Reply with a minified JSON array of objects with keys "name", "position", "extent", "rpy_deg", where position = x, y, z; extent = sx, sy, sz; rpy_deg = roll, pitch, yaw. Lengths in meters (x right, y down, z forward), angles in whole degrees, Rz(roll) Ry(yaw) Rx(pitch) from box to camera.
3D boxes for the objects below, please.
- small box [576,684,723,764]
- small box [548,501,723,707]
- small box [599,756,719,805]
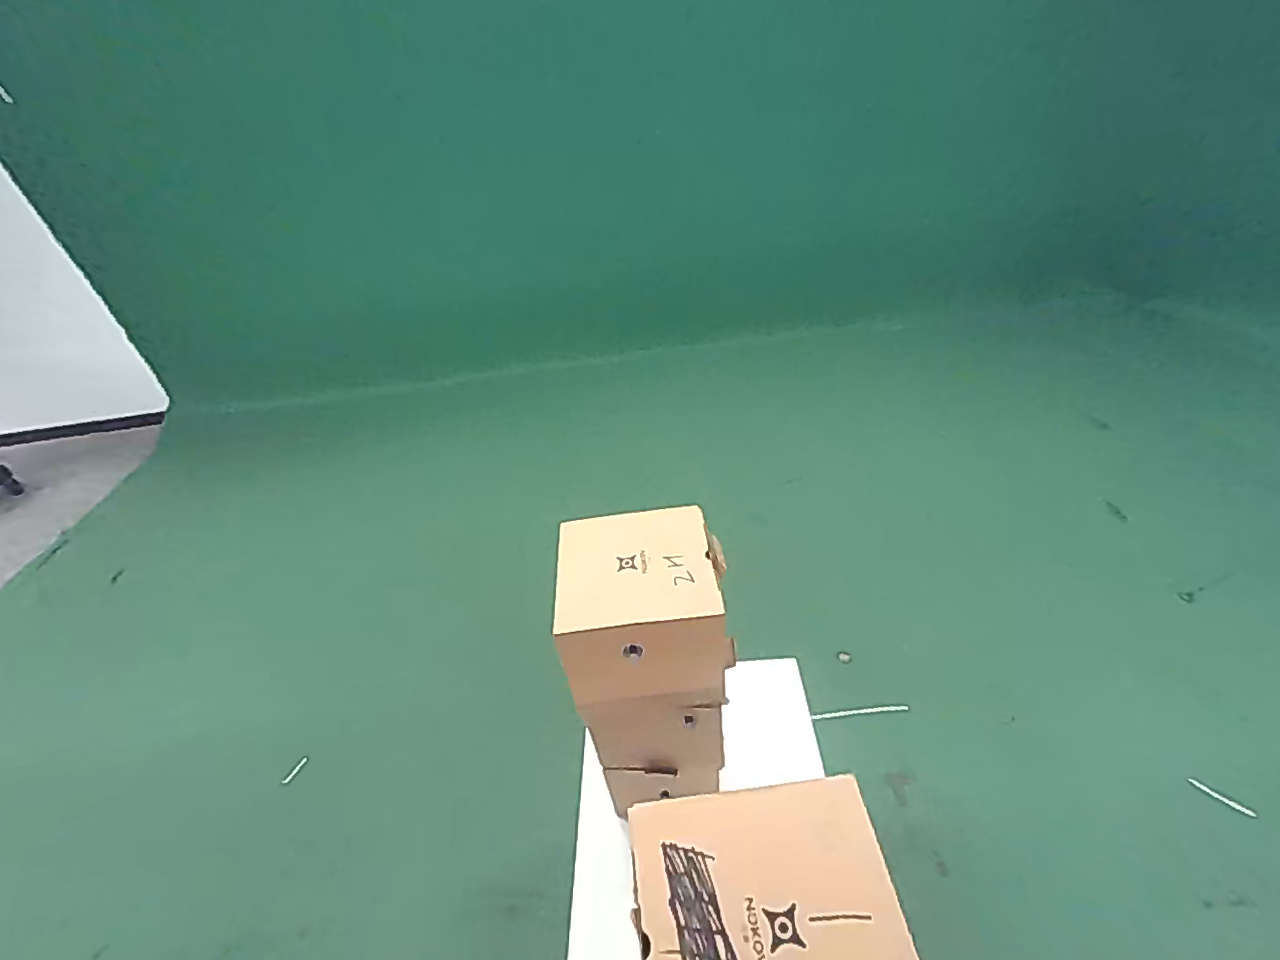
[{"name":"small box","position":[0.022,0.272,0.746],"extent":[0.179,0.176,0.168],"rpy_deg":[-2,38,6]},{"name":"small box","position":[-0.001,0.148,0.640],"extent":[0.179,0.176,0.168],"rpy_deg":[-7,39,1]},{"name":"small box","position":[0.035,0.396,0.851],"extent":[0.168,0.176,0.179],"rpy_deg":[-4,39,4]}]
